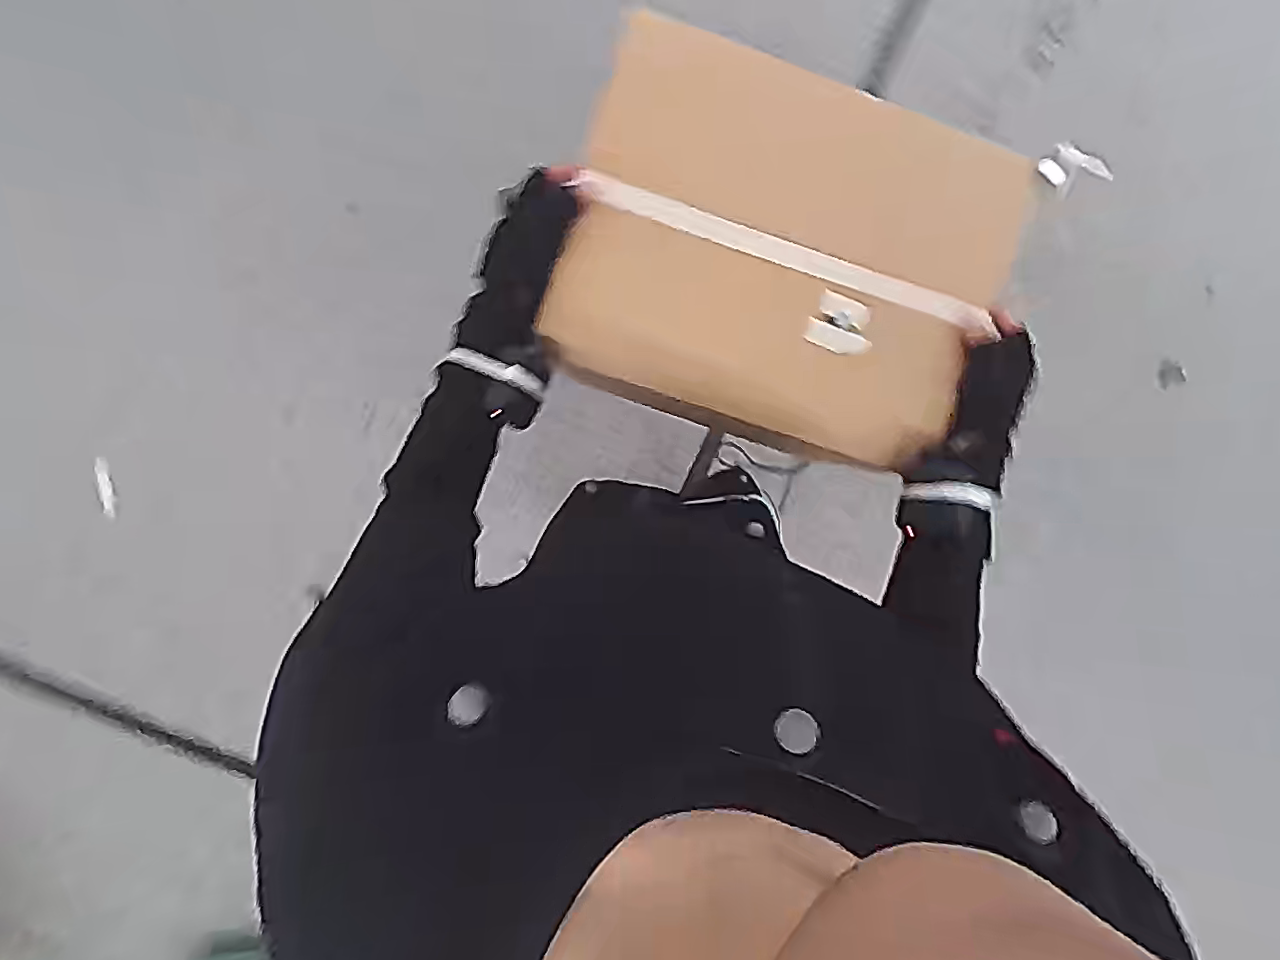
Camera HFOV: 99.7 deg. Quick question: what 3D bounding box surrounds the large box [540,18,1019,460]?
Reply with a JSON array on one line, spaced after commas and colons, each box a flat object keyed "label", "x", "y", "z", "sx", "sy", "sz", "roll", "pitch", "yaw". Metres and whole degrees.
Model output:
[{"label": "large box", "x": 0.124, "y": -0.234, "z": 0.662, "sx": 0.408, "sy": 0.320, "sz": 0.320, "roll": 17, "pitch": 96, "yaw": -5}]
